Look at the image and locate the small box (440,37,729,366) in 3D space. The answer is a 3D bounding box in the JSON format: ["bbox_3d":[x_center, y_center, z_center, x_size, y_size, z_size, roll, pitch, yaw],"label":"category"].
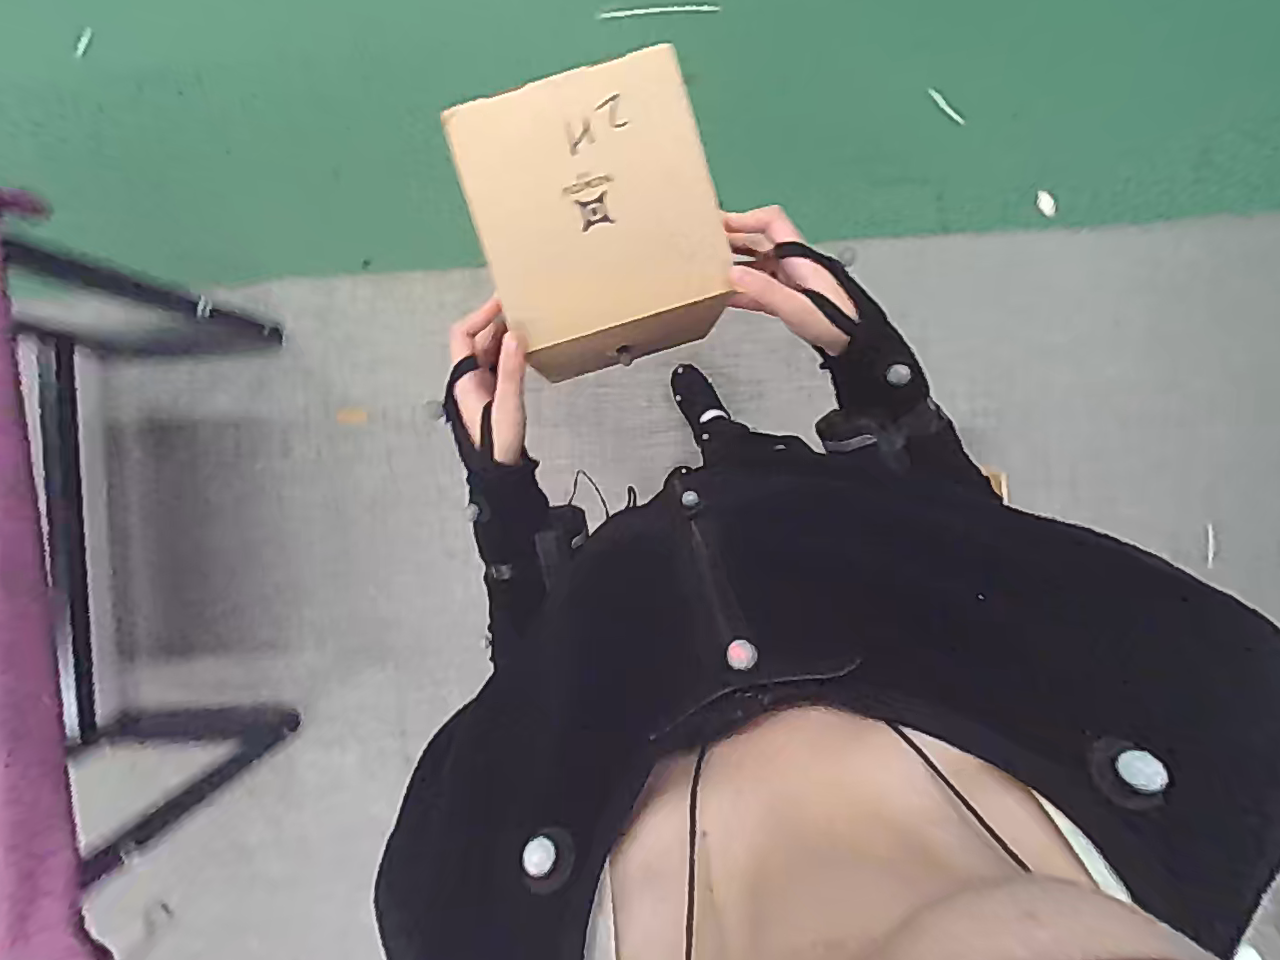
[{"bbox_3d":[-0.037,-0.204,0.456,0.168,0.176,0.179,-17,93,0],"label":"small box"}]
